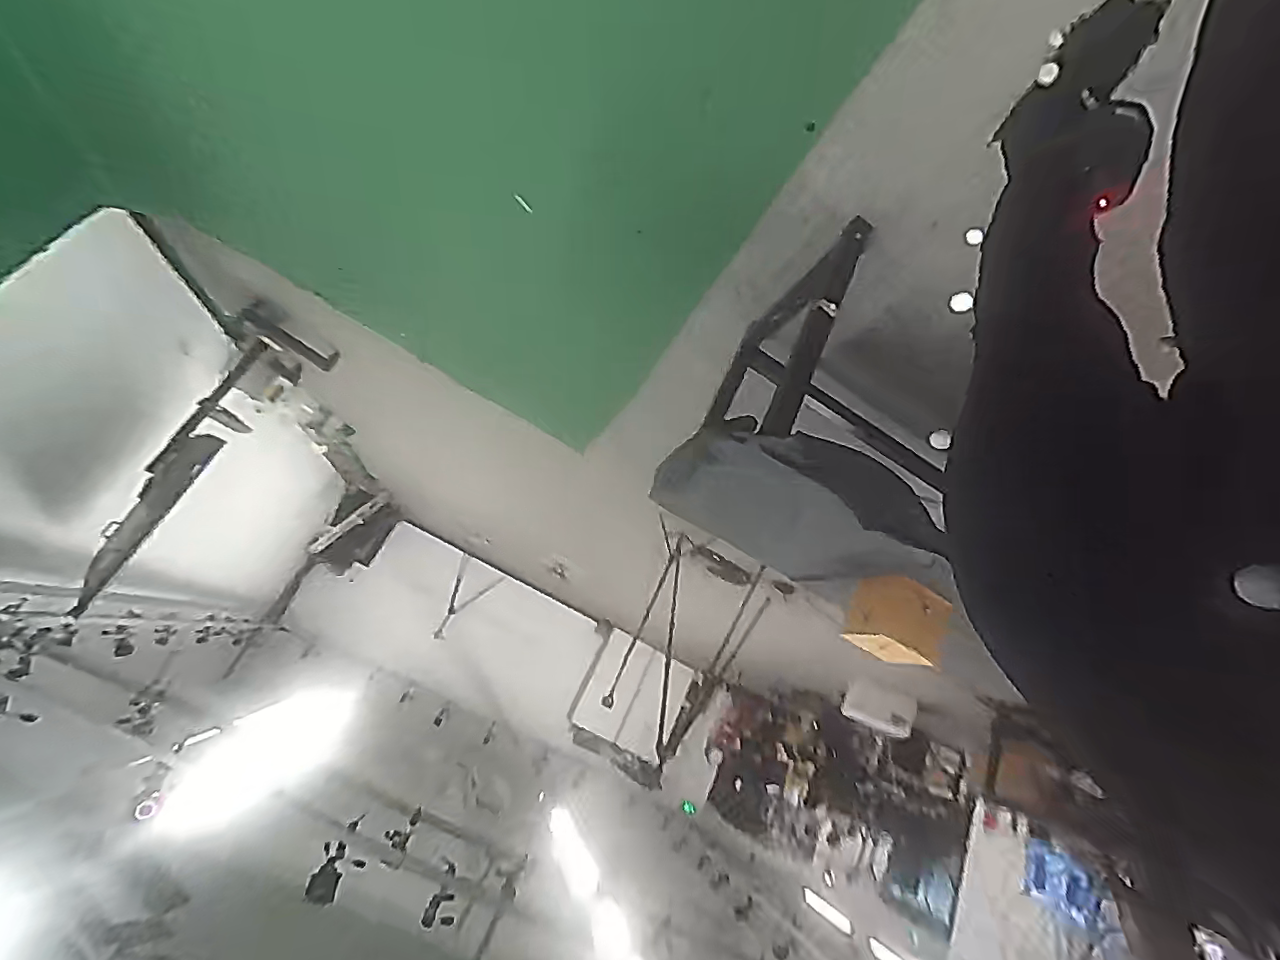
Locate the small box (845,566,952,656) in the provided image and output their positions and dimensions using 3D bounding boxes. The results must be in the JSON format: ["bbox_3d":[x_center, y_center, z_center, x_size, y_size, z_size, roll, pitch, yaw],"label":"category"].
[{"bbox_3d":[0.677,0.341,1.416,0.168,0.176,0.179,30,158,-8],"label":"small box"}]
